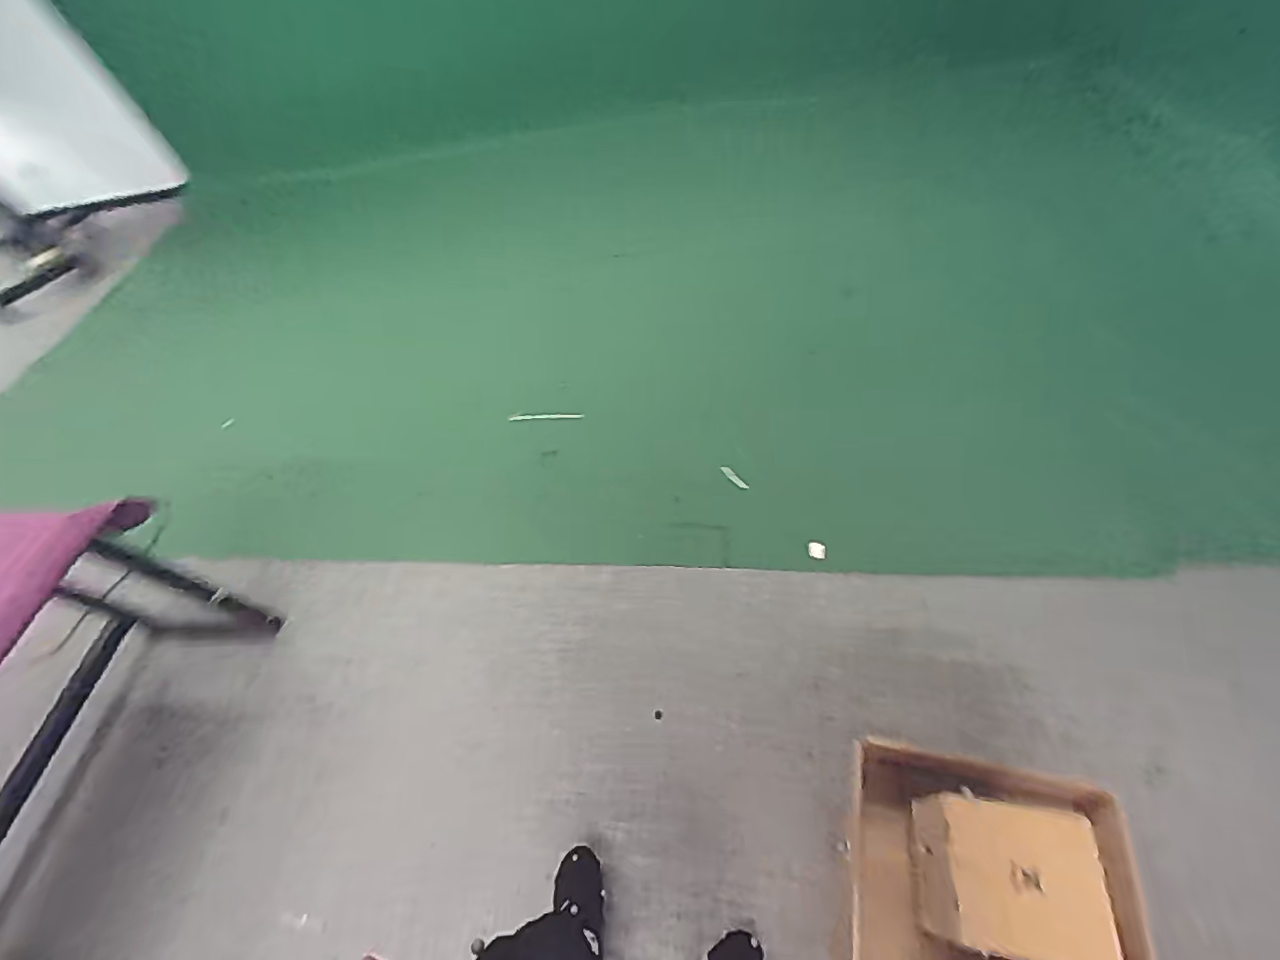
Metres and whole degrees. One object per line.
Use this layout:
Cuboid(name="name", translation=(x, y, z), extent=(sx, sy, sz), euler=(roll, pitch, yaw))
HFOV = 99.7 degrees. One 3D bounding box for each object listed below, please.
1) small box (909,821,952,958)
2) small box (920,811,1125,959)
Cuboid(name="small box", translation=(0.538, 0.657, 0.860), extent=(0.168, 0.176, 0.179), euler=(4, 58, 15))
Cuboid(name="small box", translation=(0.500, 0.562, 0.732), extent=(0.179, 0.176, 0.168), euler=(3, 57, 15))
